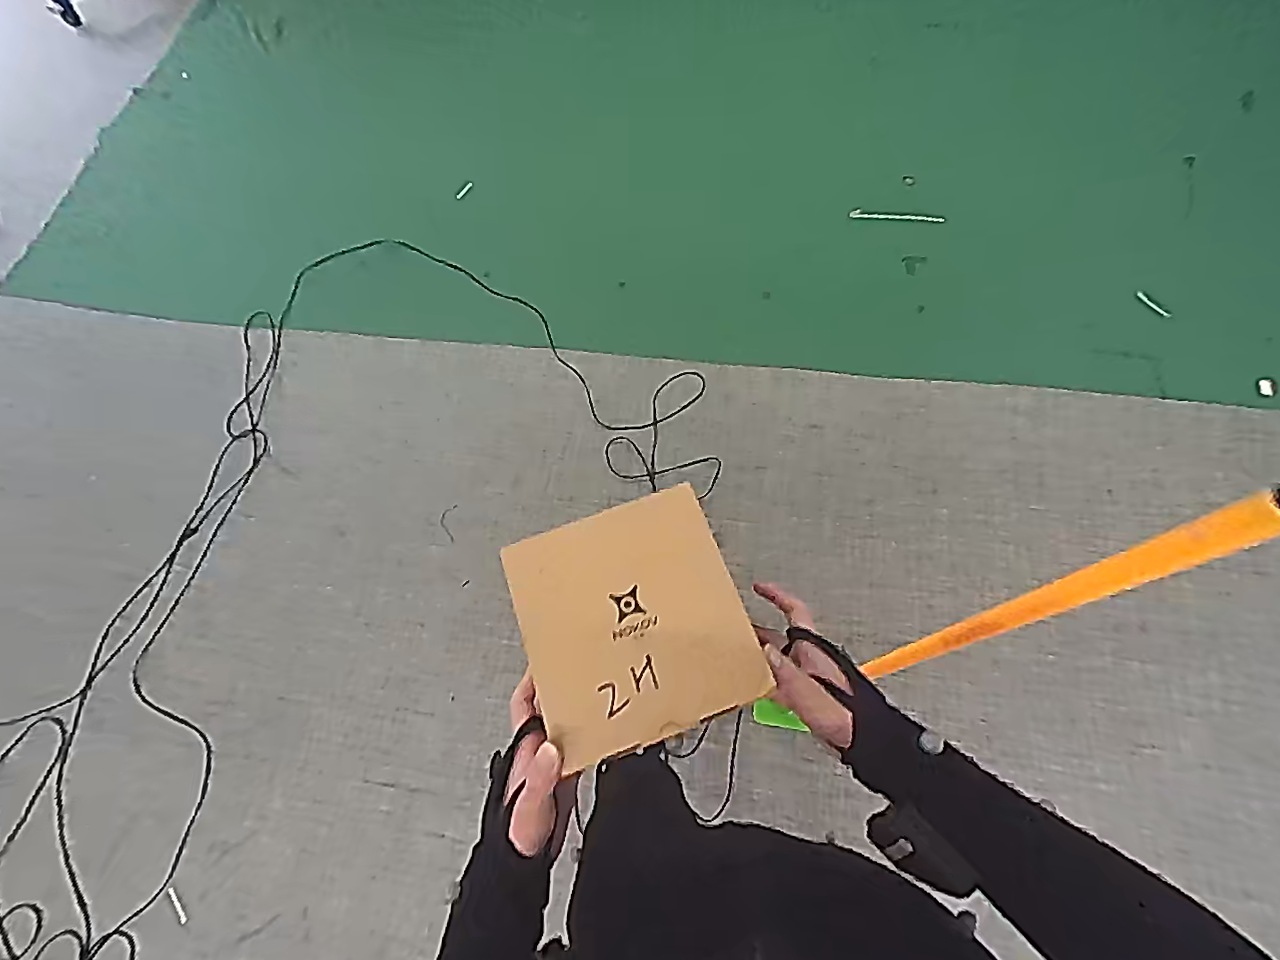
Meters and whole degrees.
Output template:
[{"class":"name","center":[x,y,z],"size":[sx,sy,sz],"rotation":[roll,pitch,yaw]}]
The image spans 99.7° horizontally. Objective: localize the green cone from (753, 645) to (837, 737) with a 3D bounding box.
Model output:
[{"class":"green cone","center":[0.380,0.474,1.222],"size":[0.202,0.368,0.200],"rotation":[6,69,8]}]

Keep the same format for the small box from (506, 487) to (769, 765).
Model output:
[{"class":"small box","center":[-0.004,0.134,0.489],"size":[0.168,0.176,0.179],"rotation":[-18,67,-4]}]
